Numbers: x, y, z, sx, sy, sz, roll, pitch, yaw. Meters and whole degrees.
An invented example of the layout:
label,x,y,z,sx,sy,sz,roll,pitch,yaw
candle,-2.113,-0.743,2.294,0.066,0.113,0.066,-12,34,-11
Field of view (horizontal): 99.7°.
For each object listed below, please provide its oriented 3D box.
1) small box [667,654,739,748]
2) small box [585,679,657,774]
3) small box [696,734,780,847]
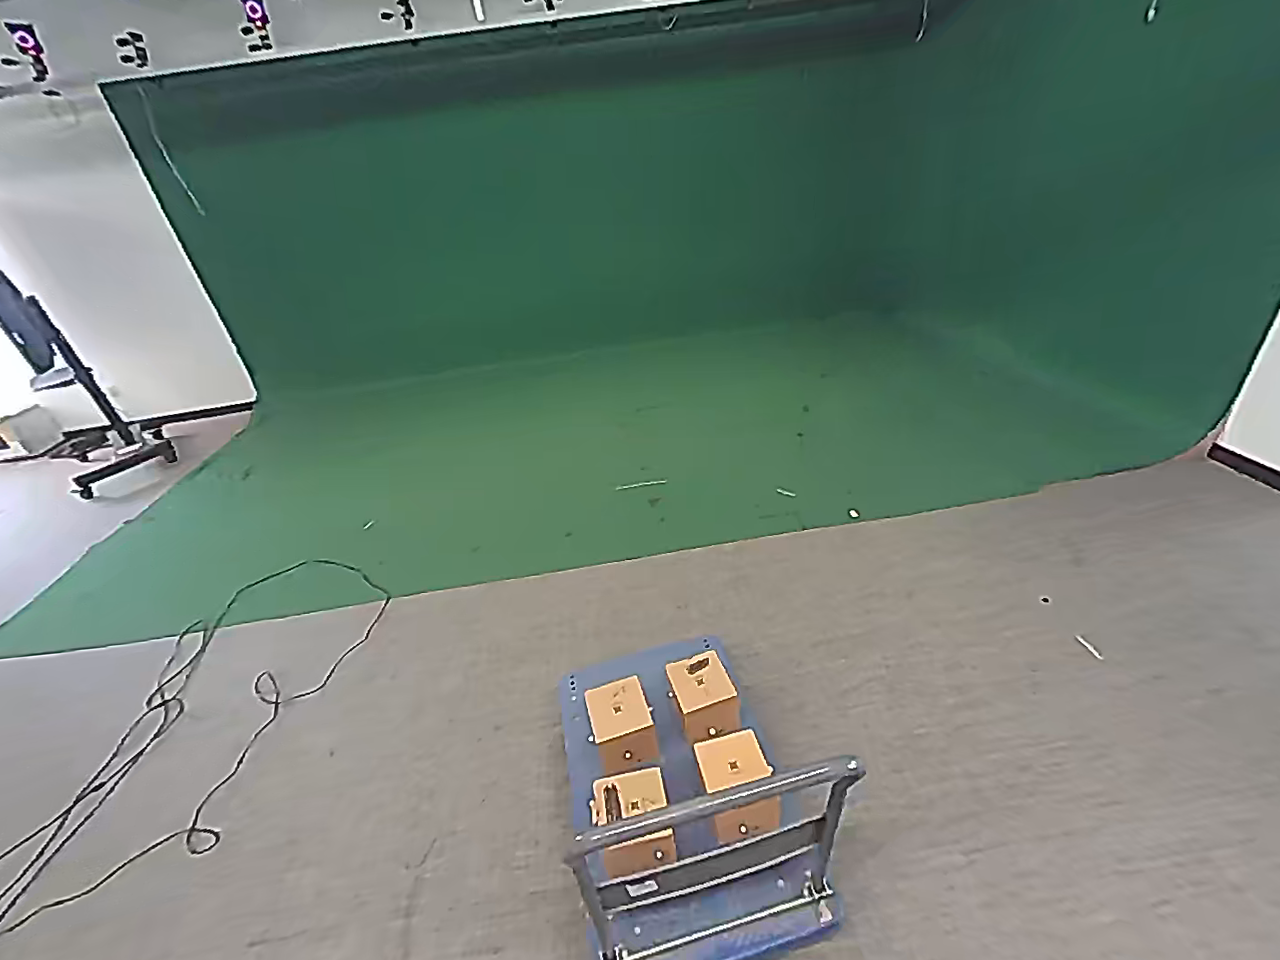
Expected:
label,x,y,z,sx,sy,sz,roll,pitch,yaw
small box,0.187,0.661,1.619,0.168,0.176,0.179,-15,34,-10
small box,-0.053,0.723,1.573,0.168,0.176,0.179,-13,32,-10
small box,0.247,0.797,1.393,0.168,0.176,0.179,-12,33,-7
